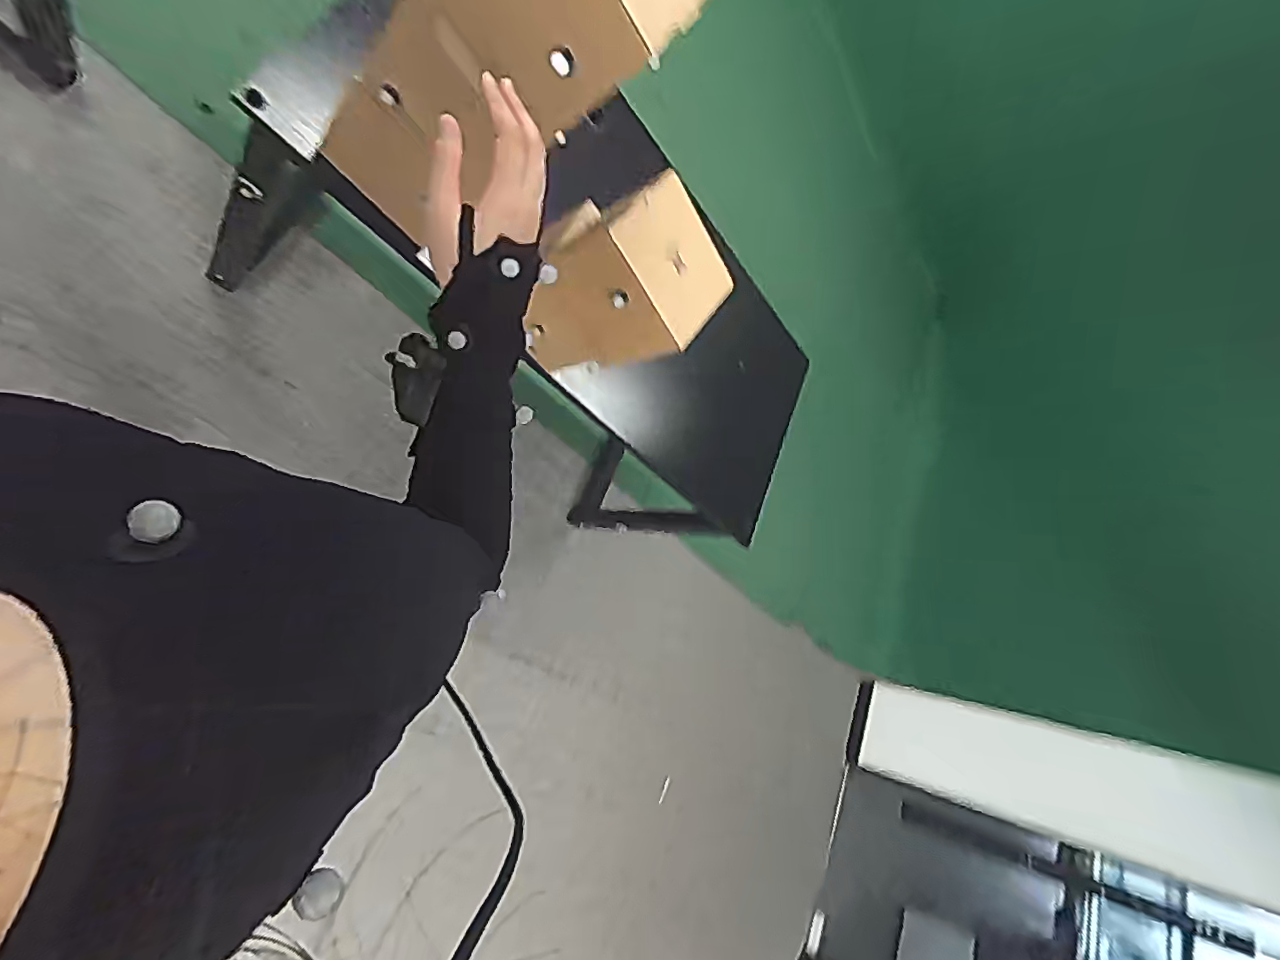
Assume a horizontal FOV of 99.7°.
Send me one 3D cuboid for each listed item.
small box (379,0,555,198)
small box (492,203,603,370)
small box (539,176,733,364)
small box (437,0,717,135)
[{"bbox_3d":[-0.166,-0.463,0.616,0.168,0.176,0.179,45,60,-34],"label":"small box"},{"bbox_3d":[-0.116,-0.303,0.885,0.168,0.176,0.179,46,60,-33],"label":"small box"},{"bbox_3d":[-0.005,-0.282,0.765,0.179,0.176,0.168,54,57,-29],"label":"small box"},{"bbox_3d":[-0.058,-0.457,0.495,0.179,0.176,0.168,45,59,-33],"label":"small box"}]
